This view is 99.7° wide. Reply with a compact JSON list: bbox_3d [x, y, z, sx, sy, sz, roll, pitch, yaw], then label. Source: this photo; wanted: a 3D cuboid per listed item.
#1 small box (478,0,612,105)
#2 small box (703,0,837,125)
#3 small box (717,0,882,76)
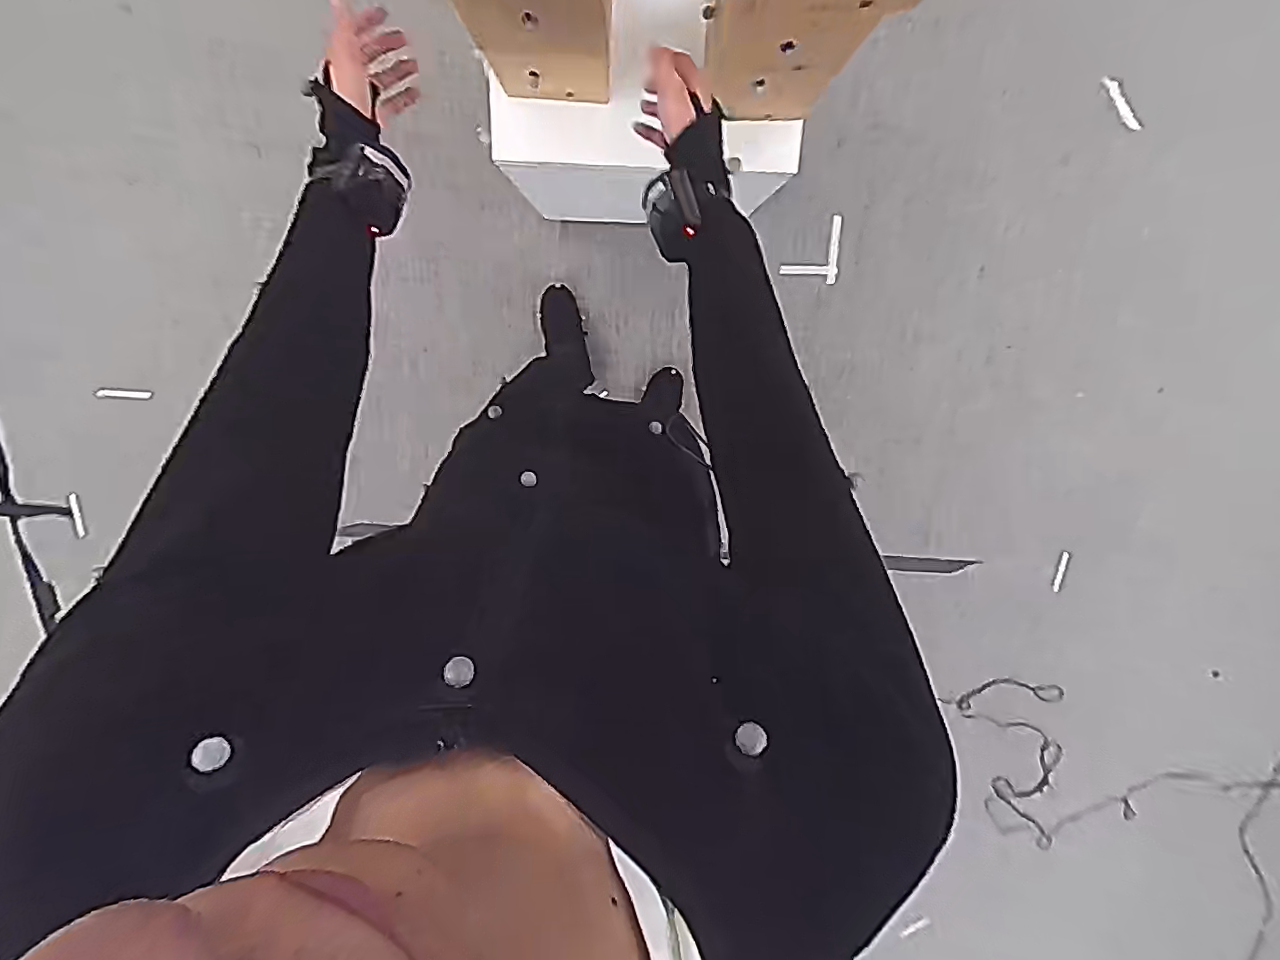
[{"bbox_3d":[-0.126,-0.662,0.767,0.168,0.176,0.179,2,106,-2],"label":"small box"},{"bbox_3d":[0.182,-0.639,0.774,0.168,0.176,0.179,0,106,1],"label":"small box"},{"bbox_3d":[0.182,-0.592,0.615,0.168,0.176,0.179,1,106,0],"label":"small box"}]
